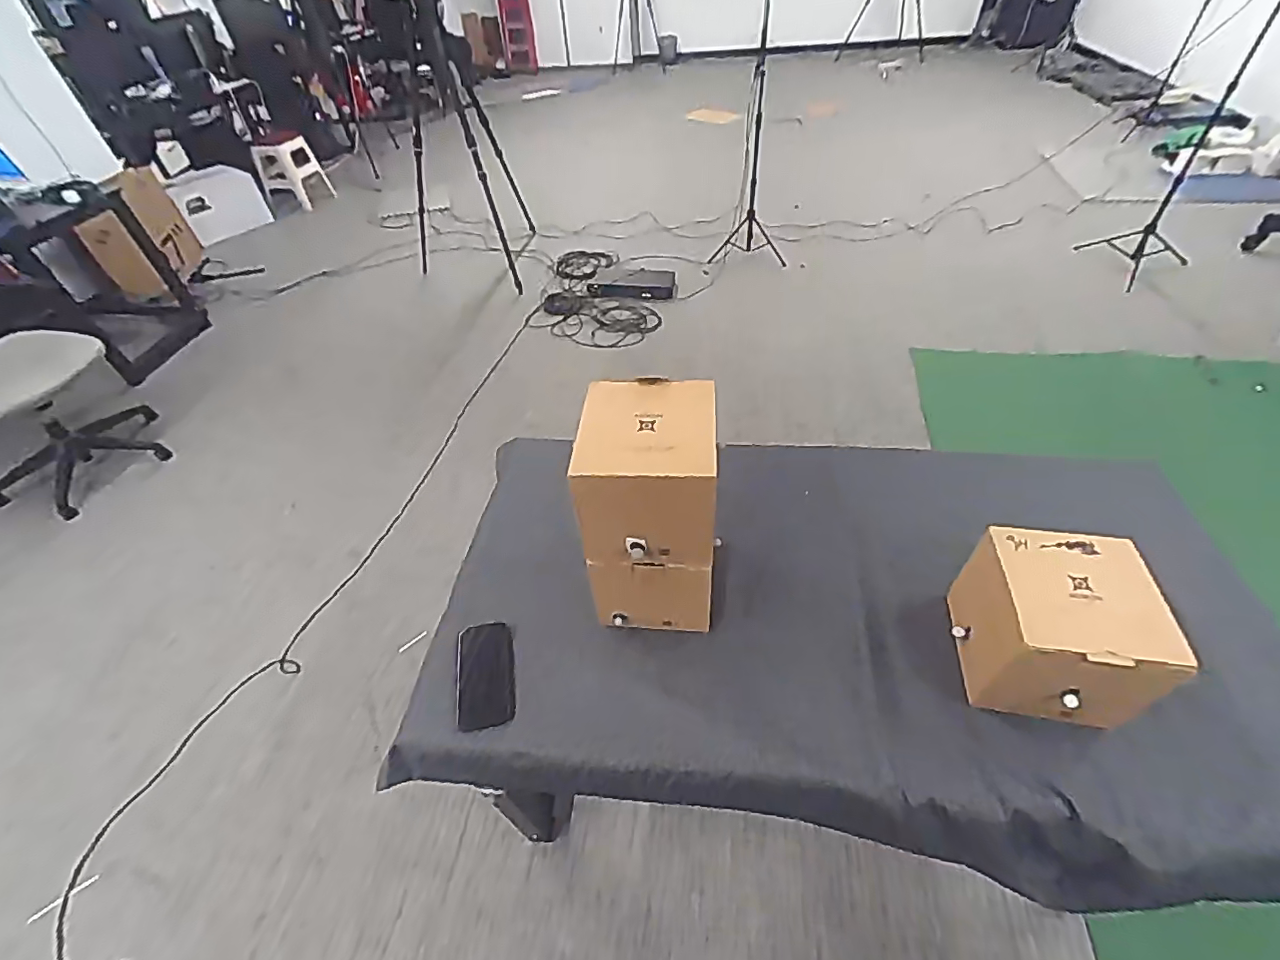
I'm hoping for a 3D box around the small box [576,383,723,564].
[{"bbox_3d":[0.020,-0.009,0.708,0.168,0.176,0.179,0,47,6],"label":"small box"}]

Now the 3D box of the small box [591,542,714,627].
[{"bbox_3d":[0.030,0.105,0.822,0.168,0.176,0.179,2,45,7],"label":"small box"}]

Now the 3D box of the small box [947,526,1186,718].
[{"bbox_3d":[0.526,0.186,0.703,0.168,0.176,0.179,6,47,10],"label":"small box"}]
